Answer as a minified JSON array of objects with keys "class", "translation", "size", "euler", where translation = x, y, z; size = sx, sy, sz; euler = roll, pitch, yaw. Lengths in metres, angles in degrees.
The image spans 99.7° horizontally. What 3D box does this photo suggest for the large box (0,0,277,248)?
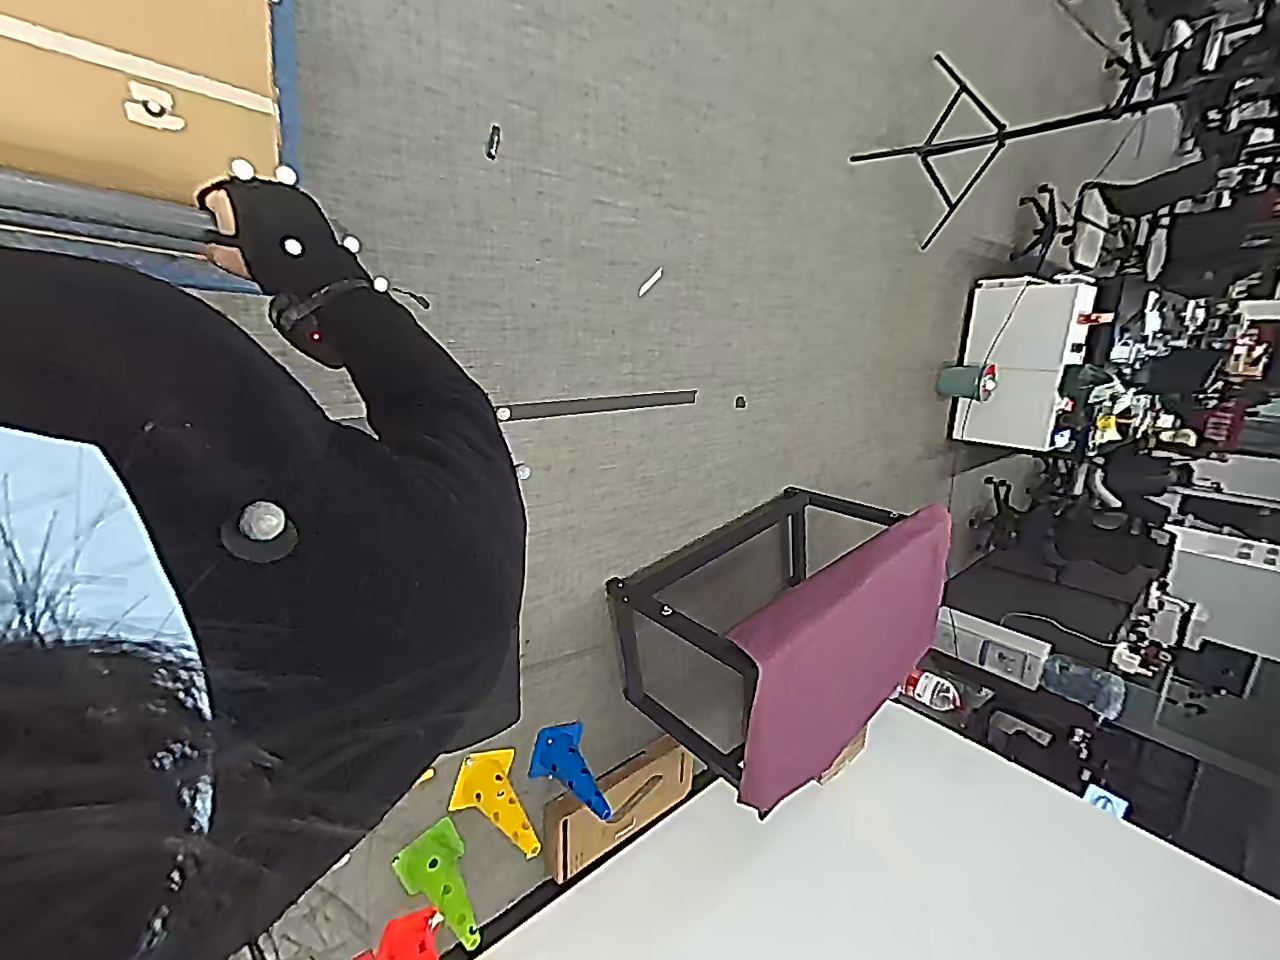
[{"class":"large box","translation":[-0.788,-0.546,0.771],"size":[0.408,0.320,0.320],"euler":[-5,106,-41]}]
